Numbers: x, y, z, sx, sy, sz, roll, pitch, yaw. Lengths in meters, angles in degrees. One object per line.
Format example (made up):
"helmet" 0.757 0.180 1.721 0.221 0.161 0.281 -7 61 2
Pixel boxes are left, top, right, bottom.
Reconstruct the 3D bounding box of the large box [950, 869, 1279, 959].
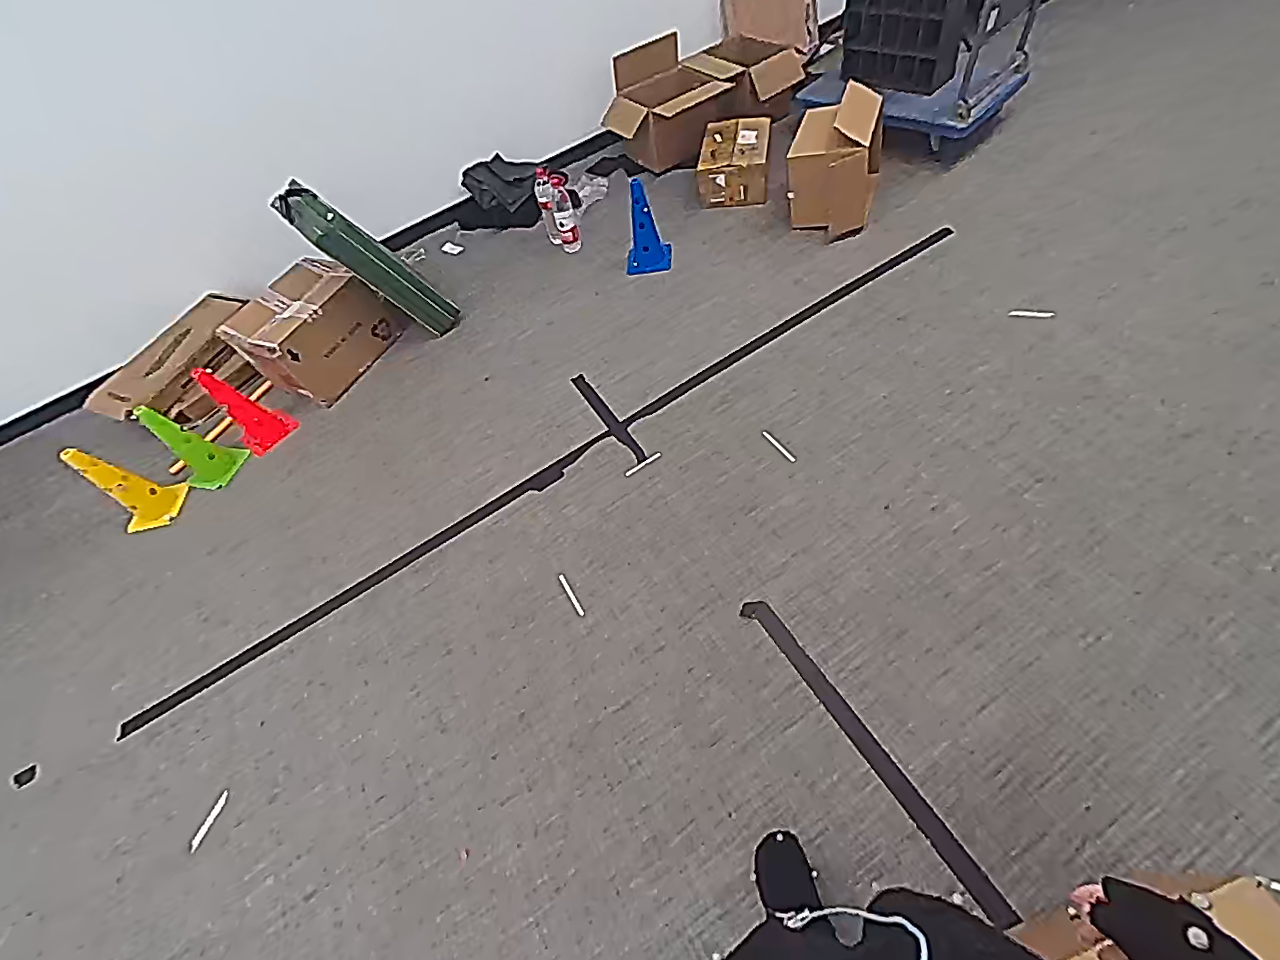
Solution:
"large box" 0.774 0.847 0.815 0.408 0.320 0.320 -21 54 -4
